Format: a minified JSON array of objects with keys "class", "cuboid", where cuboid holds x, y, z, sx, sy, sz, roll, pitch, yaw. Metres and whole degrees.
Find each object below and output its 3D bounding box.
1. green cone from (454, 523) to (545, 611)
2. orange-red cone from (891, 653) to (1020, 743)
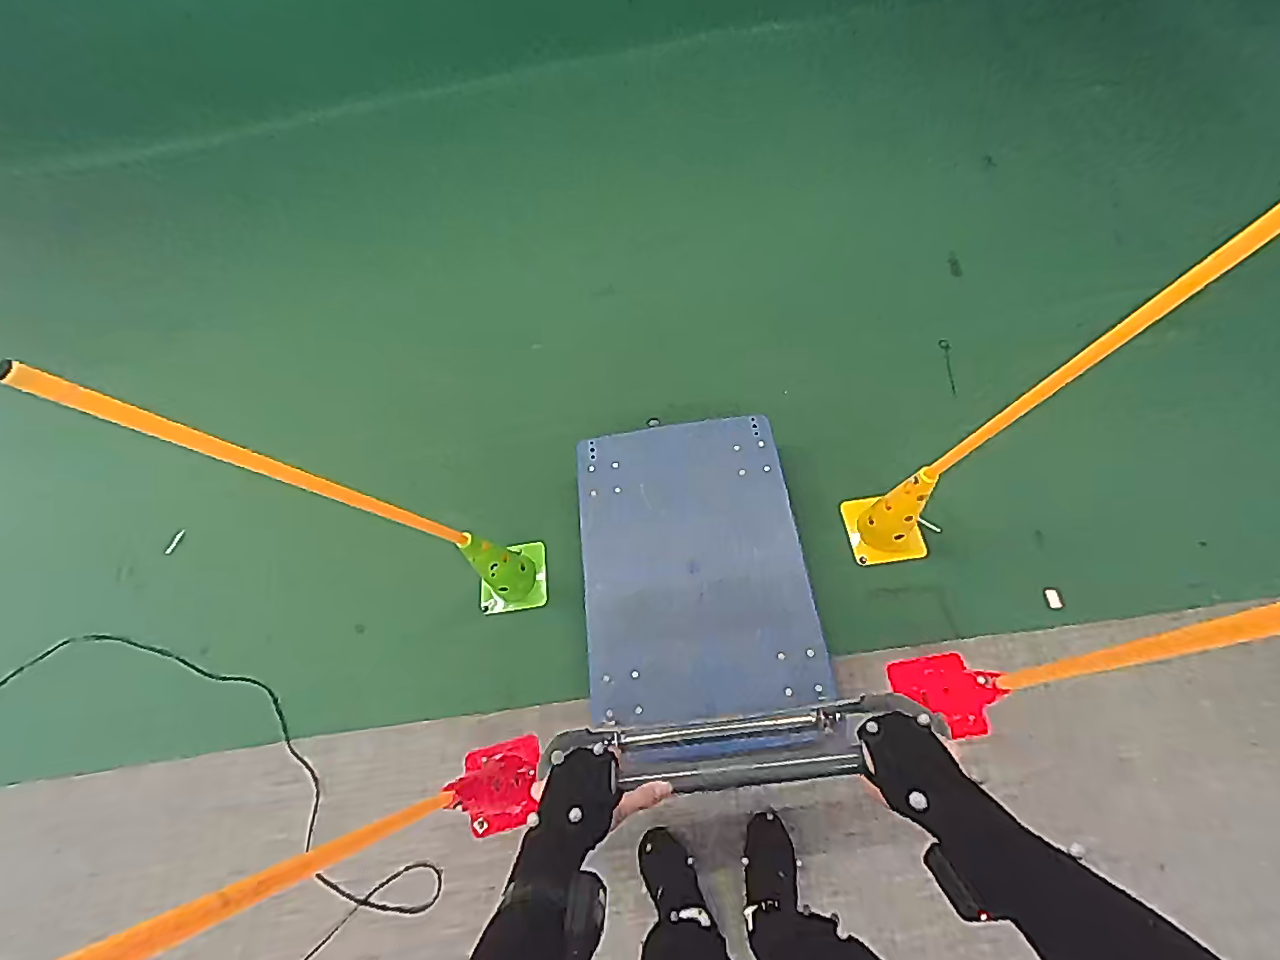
[{"class":"green cone","cuboid":[-0.403,0.205,1.460,0.200,0.368,0.202,-10,62,3]},{"class":"orange-red cone","cuboid":[0.728,0.462,1.194,0.198,0.360,0.199,-9,62,2]}]
